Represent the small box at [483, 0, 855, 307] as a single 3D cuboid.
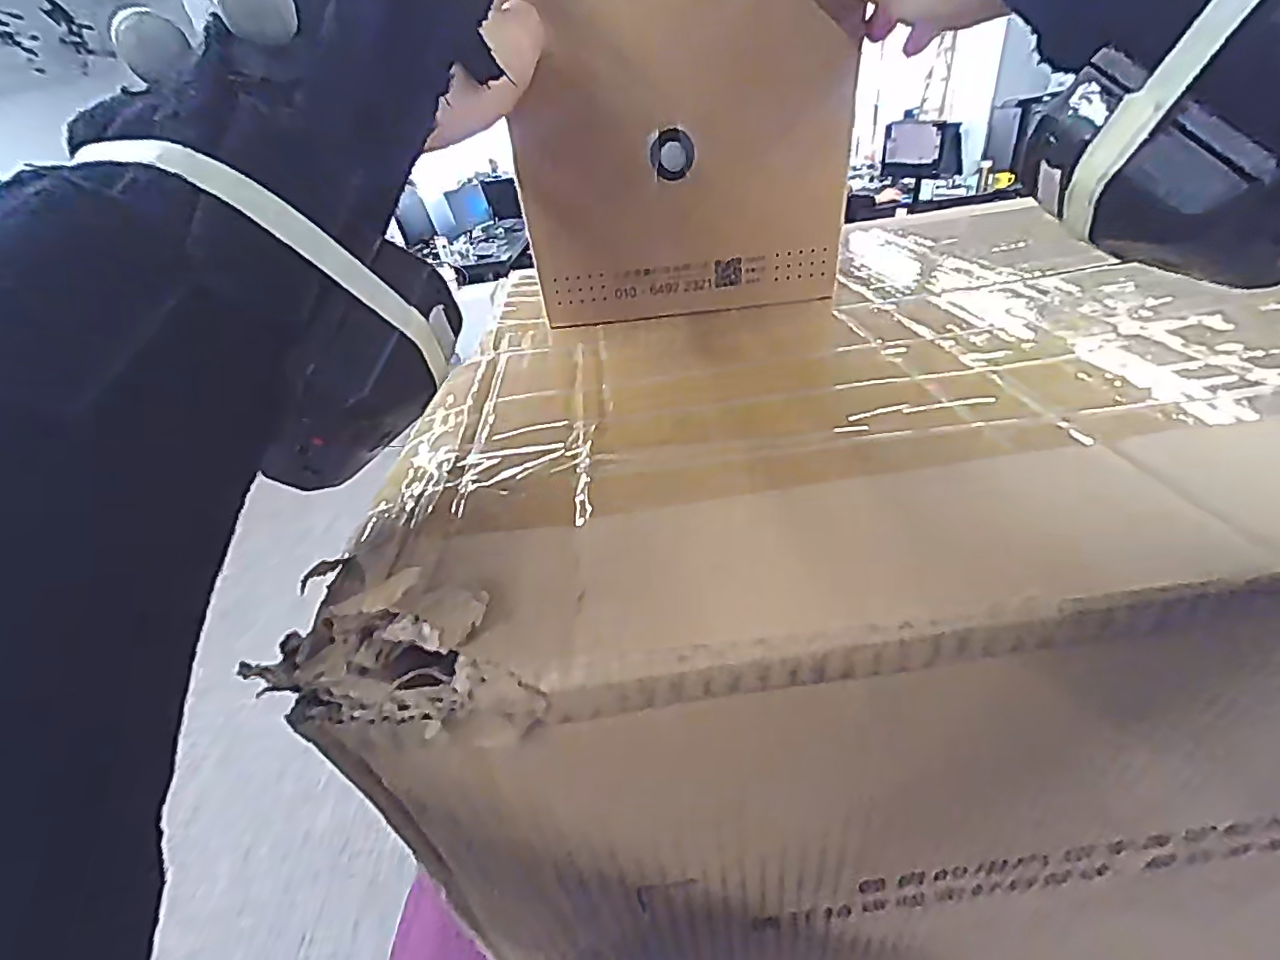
[{"bbox_3d":[0.020,-0.211,0.328,0.168,0.176,0.179,-5,36,2],"label":"small box"}]
